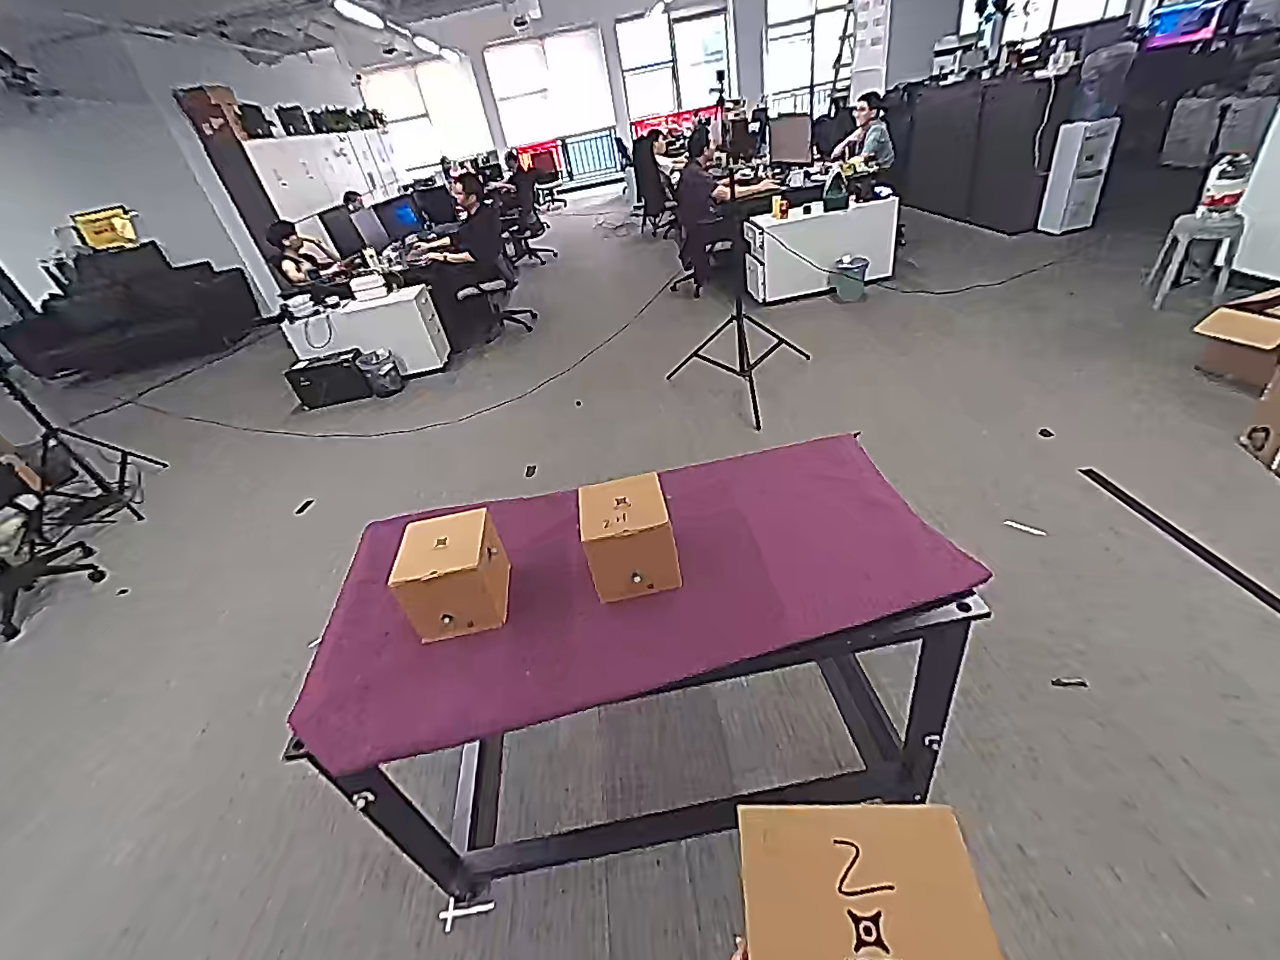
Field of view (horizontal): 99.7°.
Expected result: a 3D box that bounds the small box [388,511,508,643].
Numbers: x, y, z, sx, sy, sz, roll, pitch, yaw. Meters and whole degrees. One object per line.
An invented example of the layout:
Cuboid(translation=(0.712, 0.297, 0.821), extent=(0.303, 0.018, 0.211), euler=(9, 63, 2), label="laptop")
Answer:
Cuboid(translation=(-0.369, 0.192, 1.077), extent=(0.168, 0.176, 0.179), euler=(-12, 36, -2), label="small box")

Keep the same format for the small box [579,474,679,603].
Cuboid(translation=(-0.023, 0.116, 1.080), extent=(0.168, 0.176, 0.179), euler=(-13, 35, 0), label="small box")
